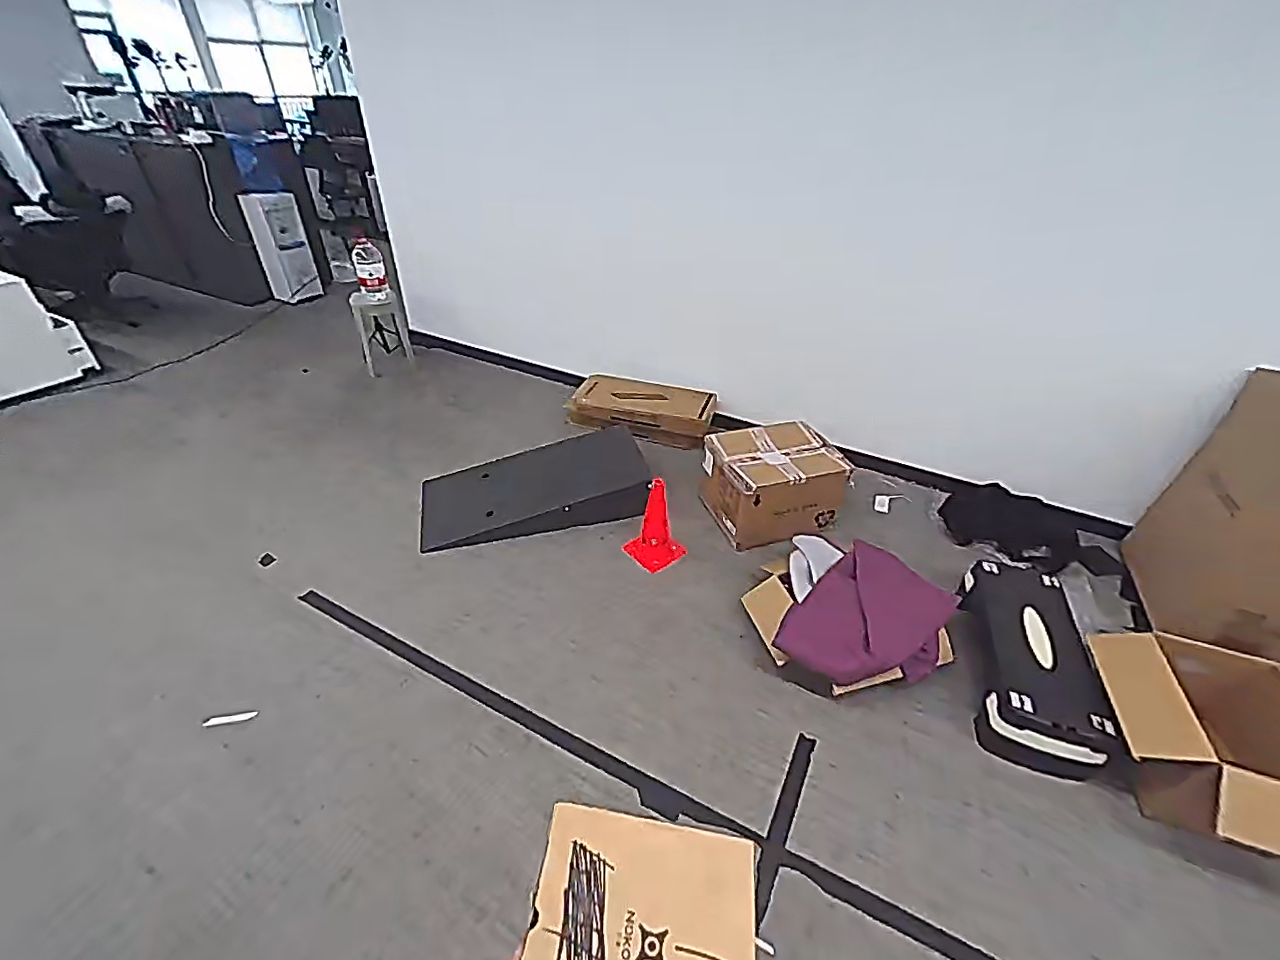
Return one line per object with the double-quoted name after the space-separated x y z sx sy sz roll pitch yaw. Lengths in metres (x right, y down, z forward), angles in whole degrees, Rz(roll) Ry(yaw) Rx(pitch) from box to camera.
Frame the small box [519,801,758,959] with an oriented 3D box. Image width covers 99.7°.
-0.005 0.404 0.456 0.179 0.176 0.168 10 40 2 "small box"
